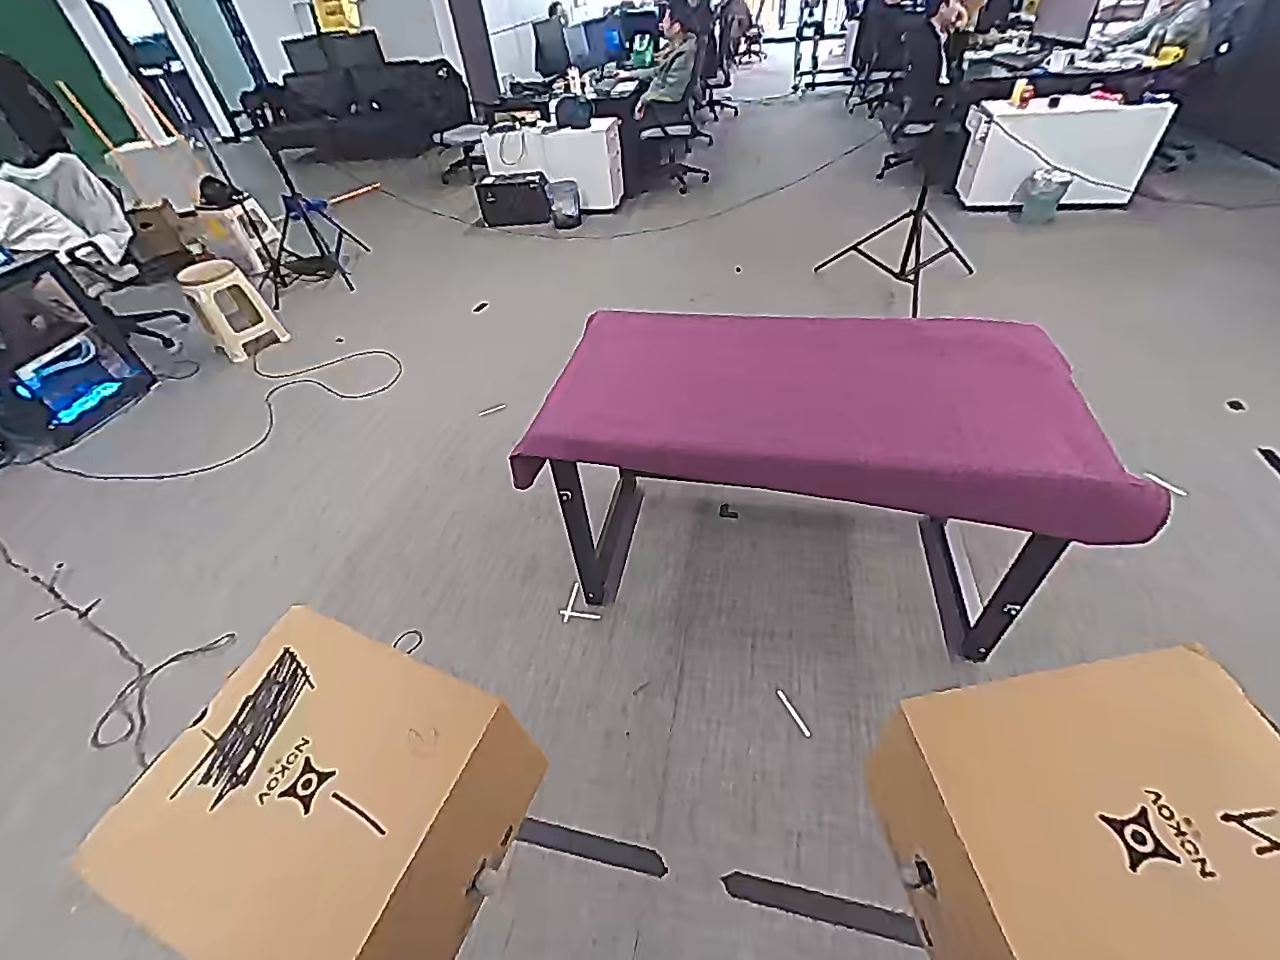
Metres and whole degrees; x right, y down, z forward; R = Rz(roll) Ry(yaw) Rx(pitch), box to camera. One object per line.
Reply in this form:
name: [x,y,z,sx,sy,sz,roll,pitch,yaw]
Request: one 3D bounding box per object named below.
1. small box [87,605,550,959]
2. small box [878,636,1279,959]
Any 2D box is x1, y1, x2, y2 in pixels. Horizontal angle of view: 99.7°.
small box: [-0.185,0.219,0.372,0.179,0.176,0.168,17,54,16]
small box: [0.261,0.218,0.321,0.179,0.176,0.168,-12,49,2]
